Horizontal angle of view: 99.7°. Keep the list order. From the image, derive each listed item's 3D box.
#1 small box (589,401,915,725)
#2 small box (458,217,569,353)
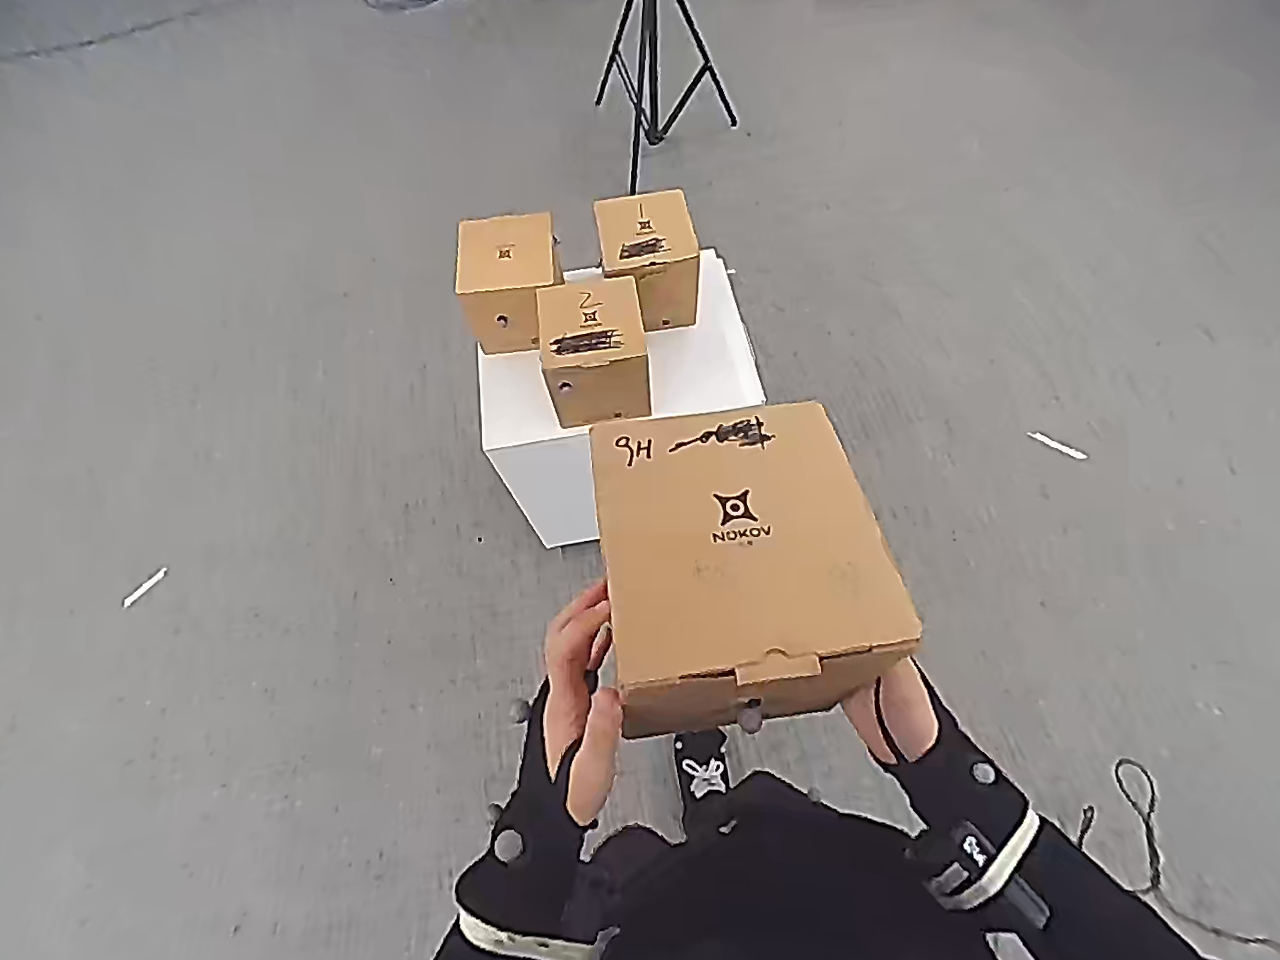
[{"bbox_3d":[0.057,0.069,0.394,0.168,0.176,0.179,-7,57,-5],"label":"small box"},{"bbox_3d":[-0.227,-0.352,1.006,0.168,0.176,0.179,-6,65,-1],"label":"small box"}]
